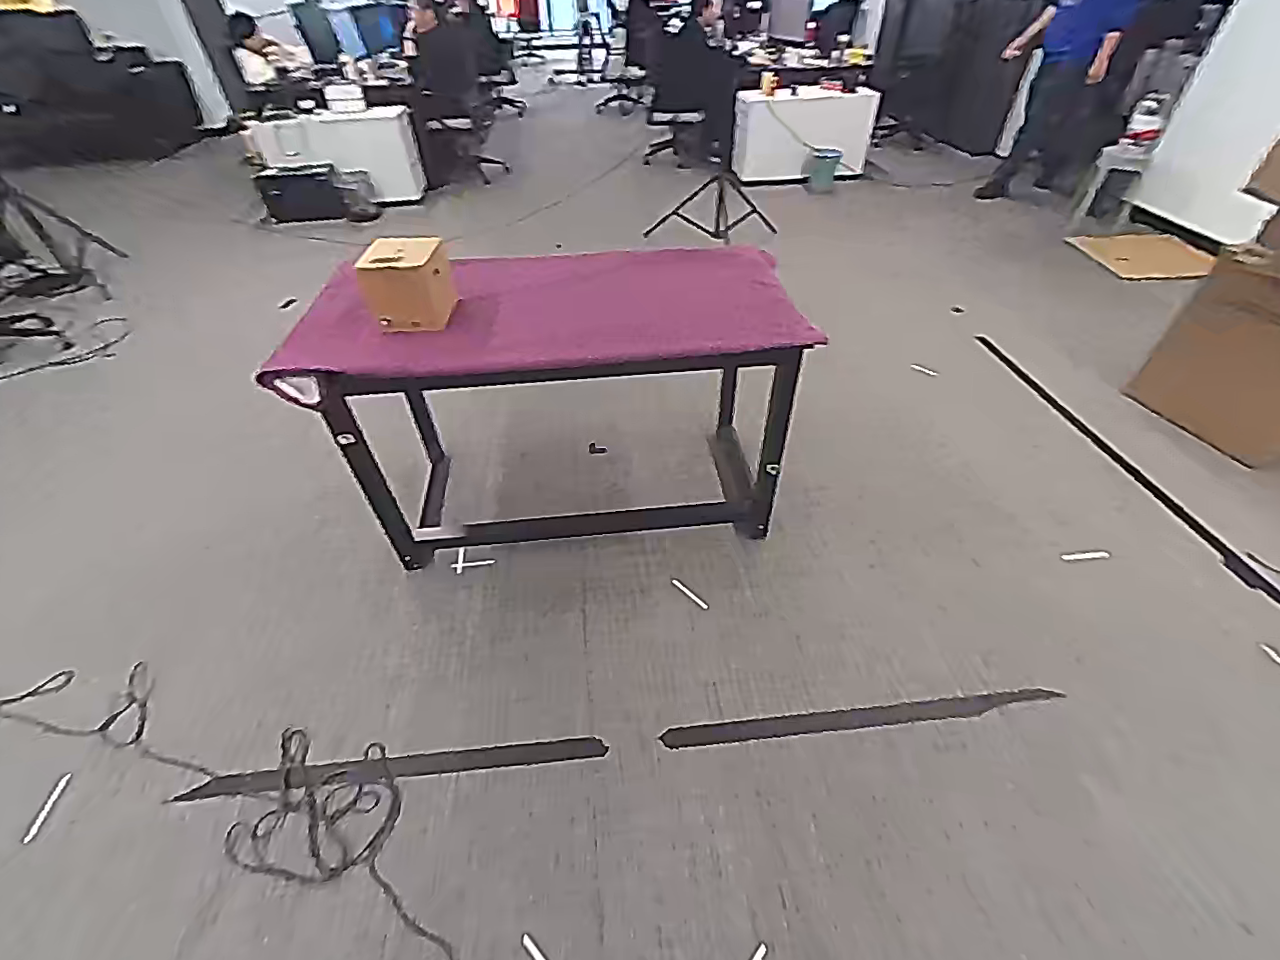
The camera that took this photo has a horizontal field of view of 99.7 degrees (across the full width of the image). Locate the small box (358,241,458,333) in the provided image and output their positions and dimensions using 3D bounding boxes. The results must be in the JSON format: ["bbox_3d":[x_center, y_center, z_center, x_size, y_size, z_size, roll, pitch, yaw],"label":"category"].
[{"bbox_3d":[-0.575,-0.486,1.369,0.168,0.176,0.179,-1,44,0],"label":"small box"}]
